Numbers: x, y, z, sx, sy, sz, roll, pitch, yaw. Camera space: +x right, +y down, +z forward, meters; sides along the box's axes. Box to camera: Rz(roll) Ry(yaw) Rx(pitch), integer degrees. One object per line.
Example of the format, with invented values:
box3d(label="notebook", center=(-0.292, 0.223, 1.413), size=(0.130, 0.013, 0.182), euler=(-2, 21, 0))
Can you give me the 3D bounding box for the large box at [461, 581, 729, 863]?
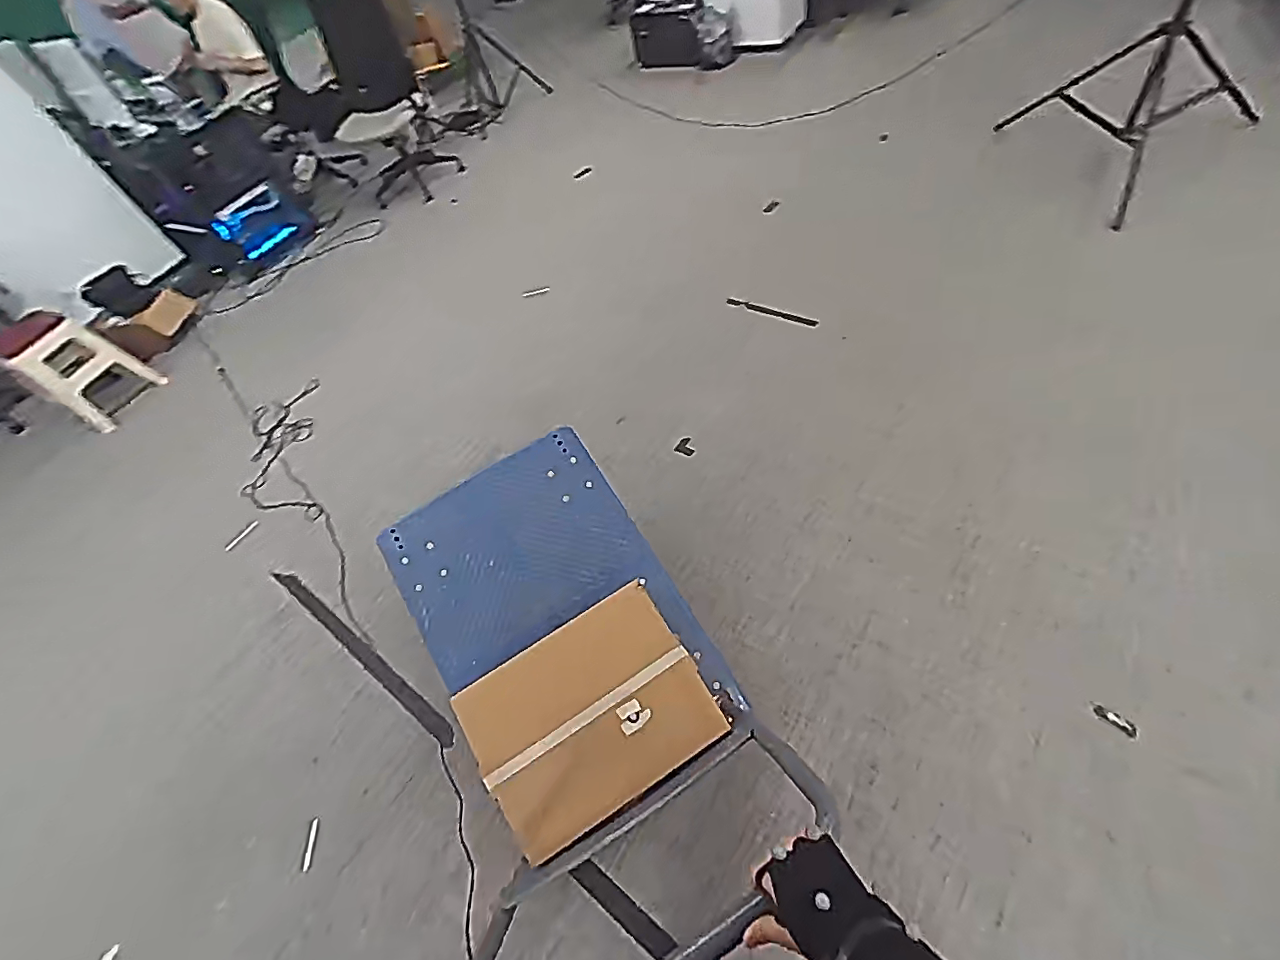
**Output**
box3d(label="large box", center=(-0.082, 0.469, 1.117), size=(0.408, 0.320, 0.320), euler=(-32, 75, -9))
